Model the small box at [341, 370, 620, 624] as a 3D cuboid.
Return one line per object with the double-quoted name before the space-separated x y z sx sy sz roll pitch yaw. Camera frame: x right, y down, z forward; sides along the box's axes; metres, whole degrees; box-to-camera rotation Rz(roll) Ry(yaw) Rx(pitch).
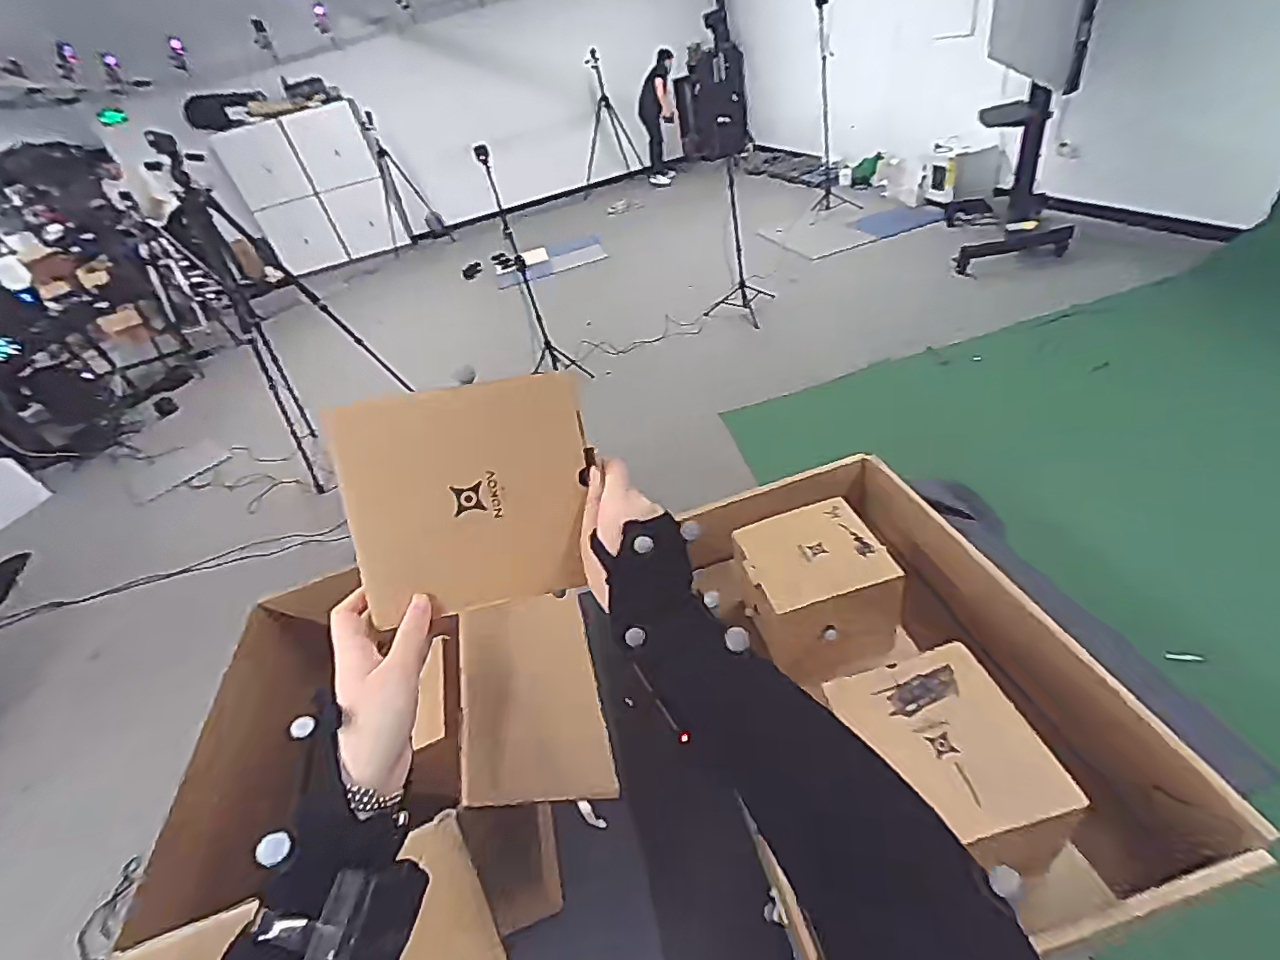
"small box" -0.127 0.003 0.474 0.179 0.168 0.176 -11 10 -12
